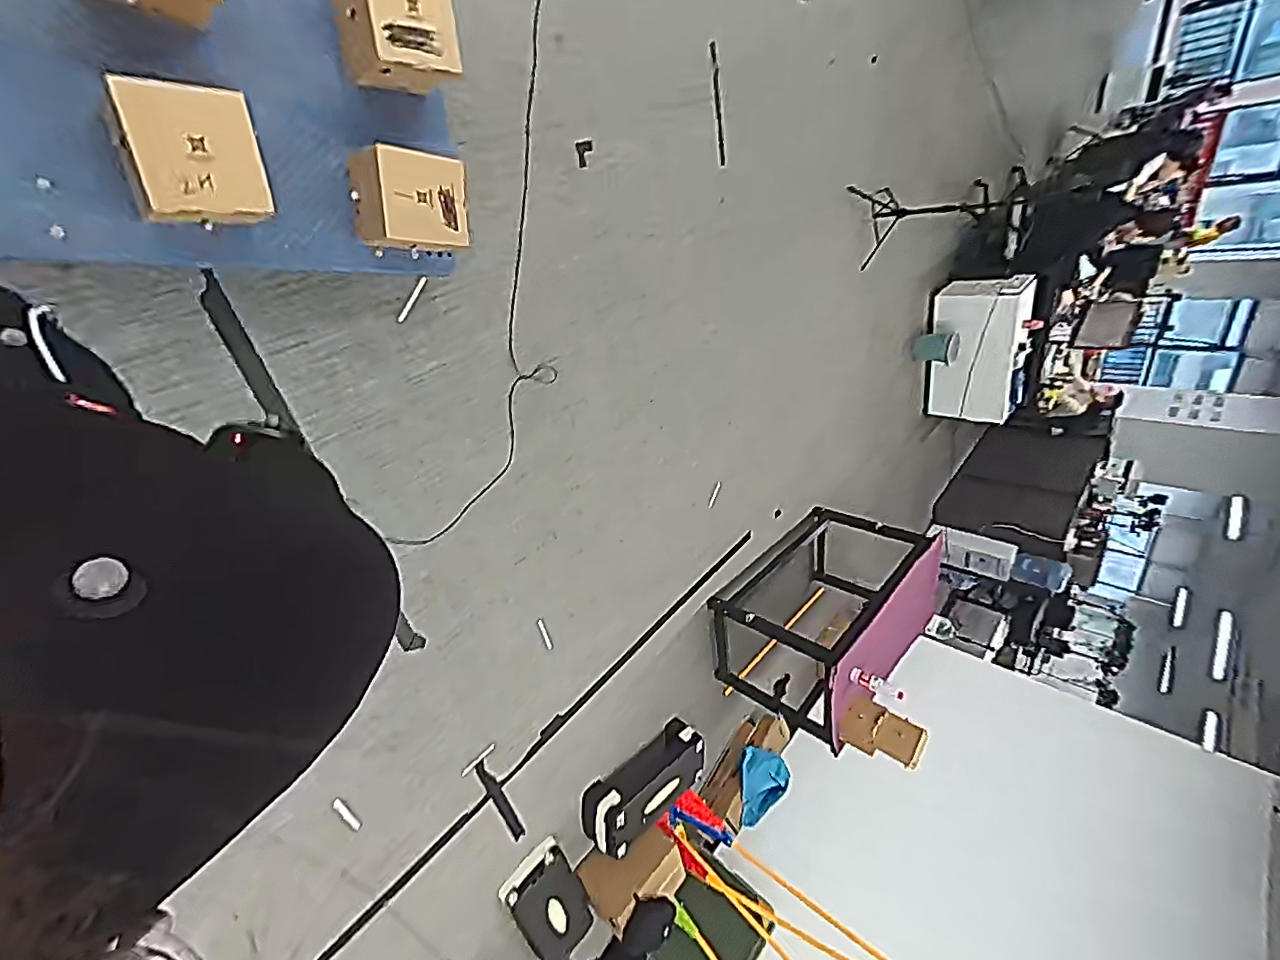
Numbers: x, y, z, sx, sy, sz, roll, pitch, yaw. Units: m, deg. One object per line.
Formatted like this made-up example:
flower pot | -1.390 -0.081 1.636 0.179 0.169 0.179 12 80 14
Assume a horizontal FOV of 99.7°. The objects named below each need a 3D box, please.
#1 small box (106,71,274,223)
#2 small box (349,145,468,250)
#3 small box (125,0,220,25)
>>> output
small box | -0.738 -0.530 0.889 0.168 0.176 0.179 -22 119 -40
small box | -0.485 -0.581 1.137 0.179 0.176 0.168 -14 113 -42
small box | -0.736 -0.822 0.788 0.168 0.176 0.179 -10 112 -45
